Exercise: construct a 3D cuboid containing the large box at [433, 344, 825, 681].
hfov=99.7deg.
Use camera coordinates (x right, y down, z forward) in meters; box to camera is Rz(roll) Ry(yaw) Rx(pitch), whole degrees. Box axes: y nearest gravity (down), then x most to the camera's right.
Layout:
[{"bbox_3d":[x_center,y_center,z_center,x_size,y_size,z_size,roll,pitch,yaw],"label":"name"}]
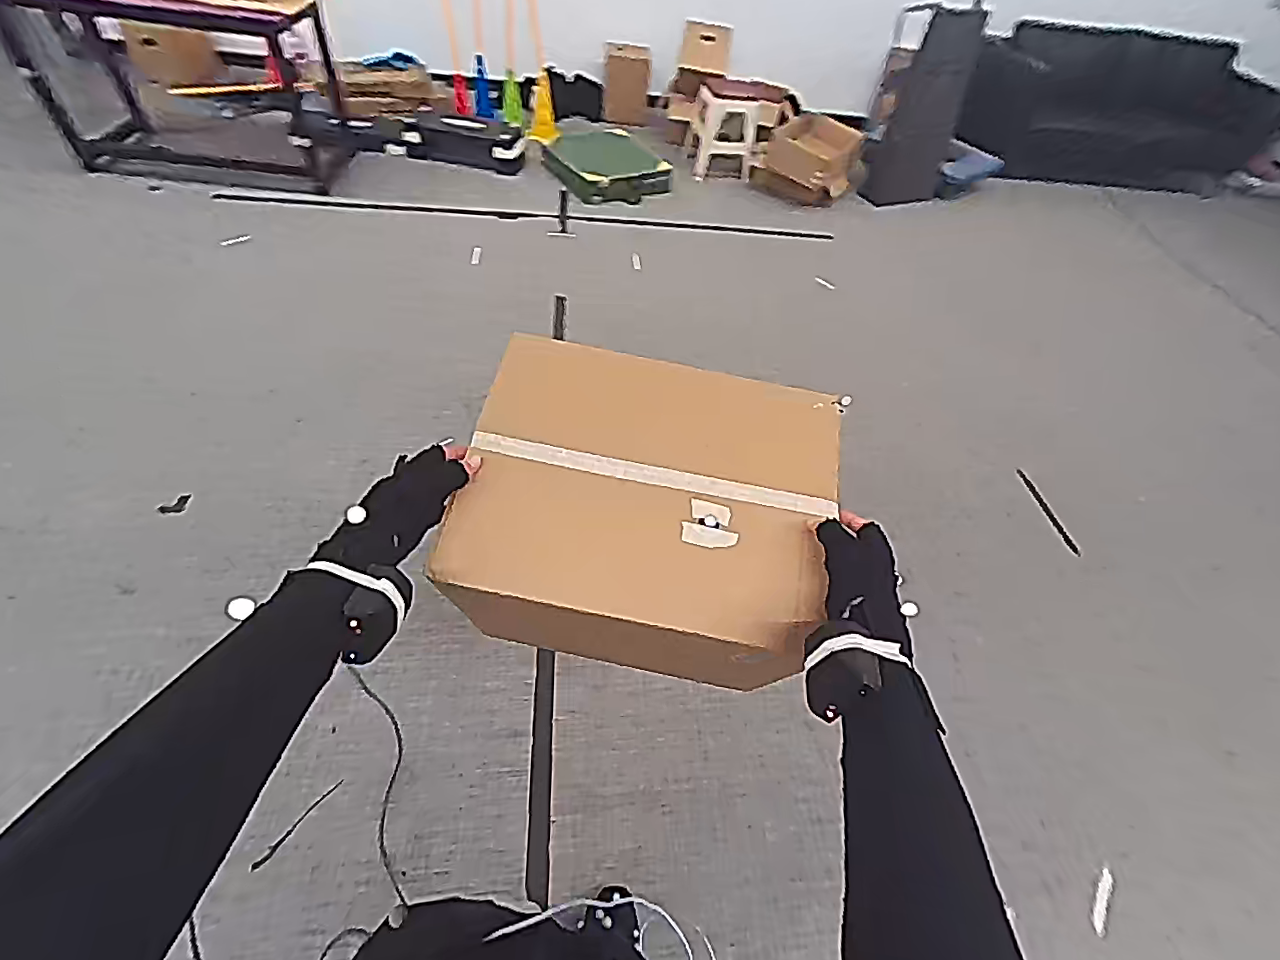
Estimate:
[{"bbox_3d":[-0.004,0.064,0.734,0.408,0.320,0.320,11,64,0],"label":"large box"}]
